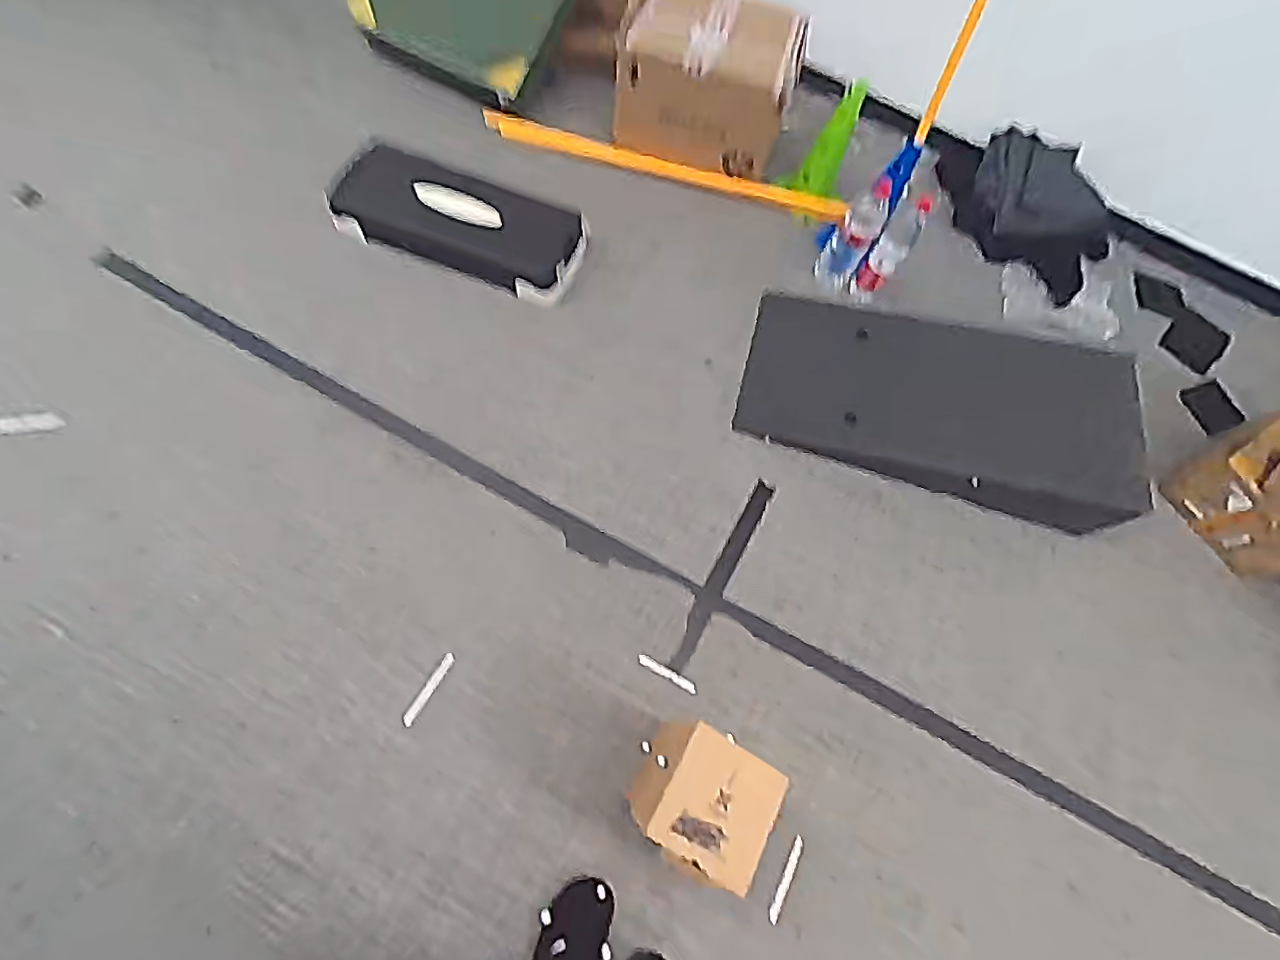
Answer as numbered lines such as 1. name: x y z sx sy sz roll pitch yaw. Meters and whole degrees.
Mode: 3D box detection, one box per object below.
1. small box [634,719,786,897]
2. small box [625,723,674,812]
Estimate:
1. small box: 0.102 0.511 0.871 0.168 0.176 0.179 32 65 5
2. small box: 0.089 0.575 1.022 0.179 0.176 0.168 29 66 4
